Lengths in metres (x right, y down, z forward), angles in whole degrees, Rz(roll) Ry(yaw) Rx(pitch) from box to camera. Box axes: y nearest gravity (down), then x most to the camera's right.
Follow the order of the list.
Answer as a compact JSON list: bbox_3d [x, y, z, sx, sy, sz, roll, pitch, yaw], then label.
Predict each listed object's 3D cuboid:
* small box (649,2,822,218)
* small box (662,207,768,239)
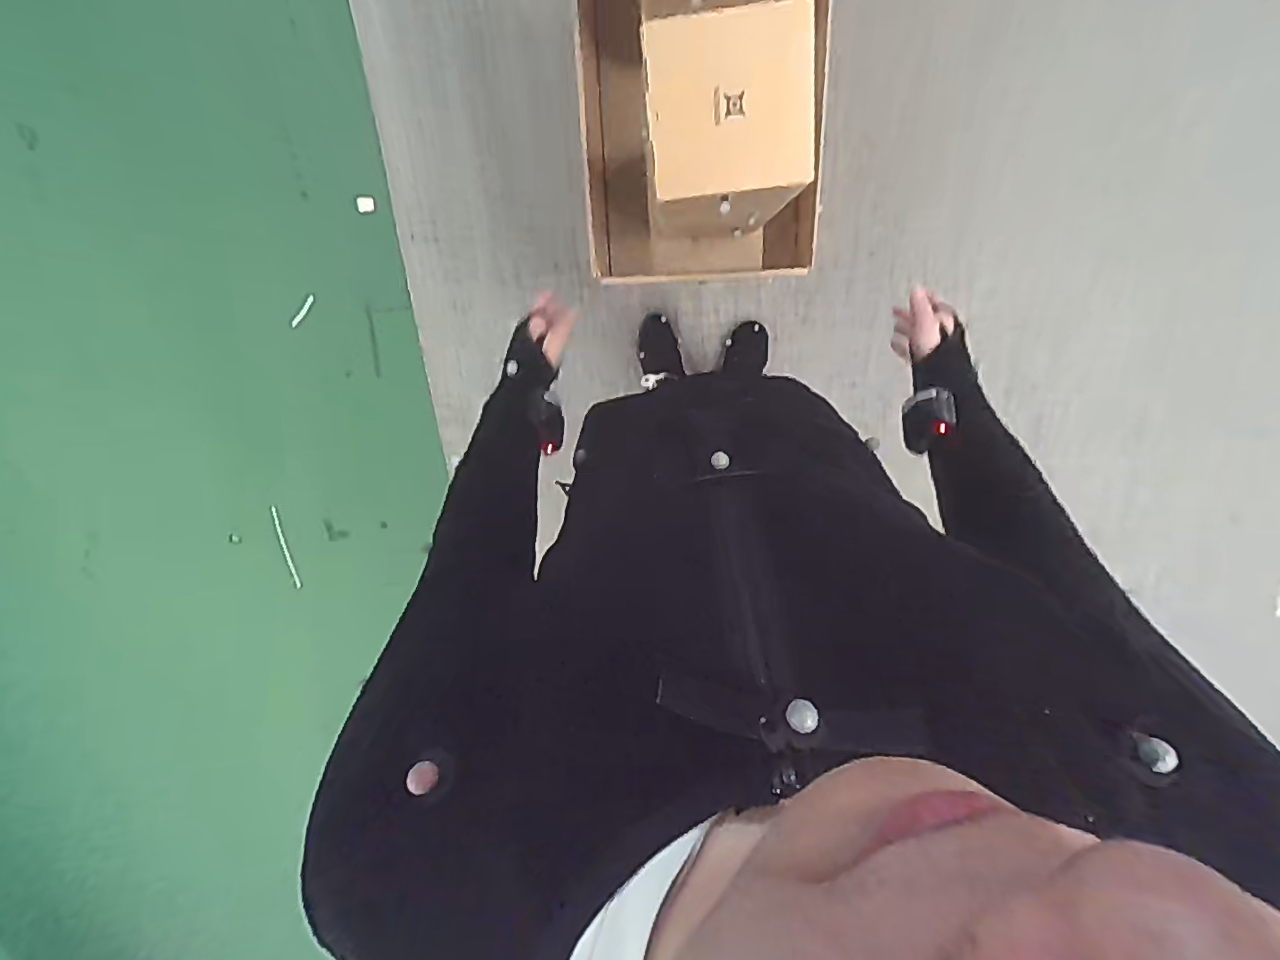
[{"bbox_3d":[0.106,-0.419,0.644,0.179,0.176,0.168,-4,109,6],"label":"small box"},{"bbox_3d":[0.125,-0.526,0.951,0.179,0.176,0.168,-2,108,5],"label":"small box"}]
